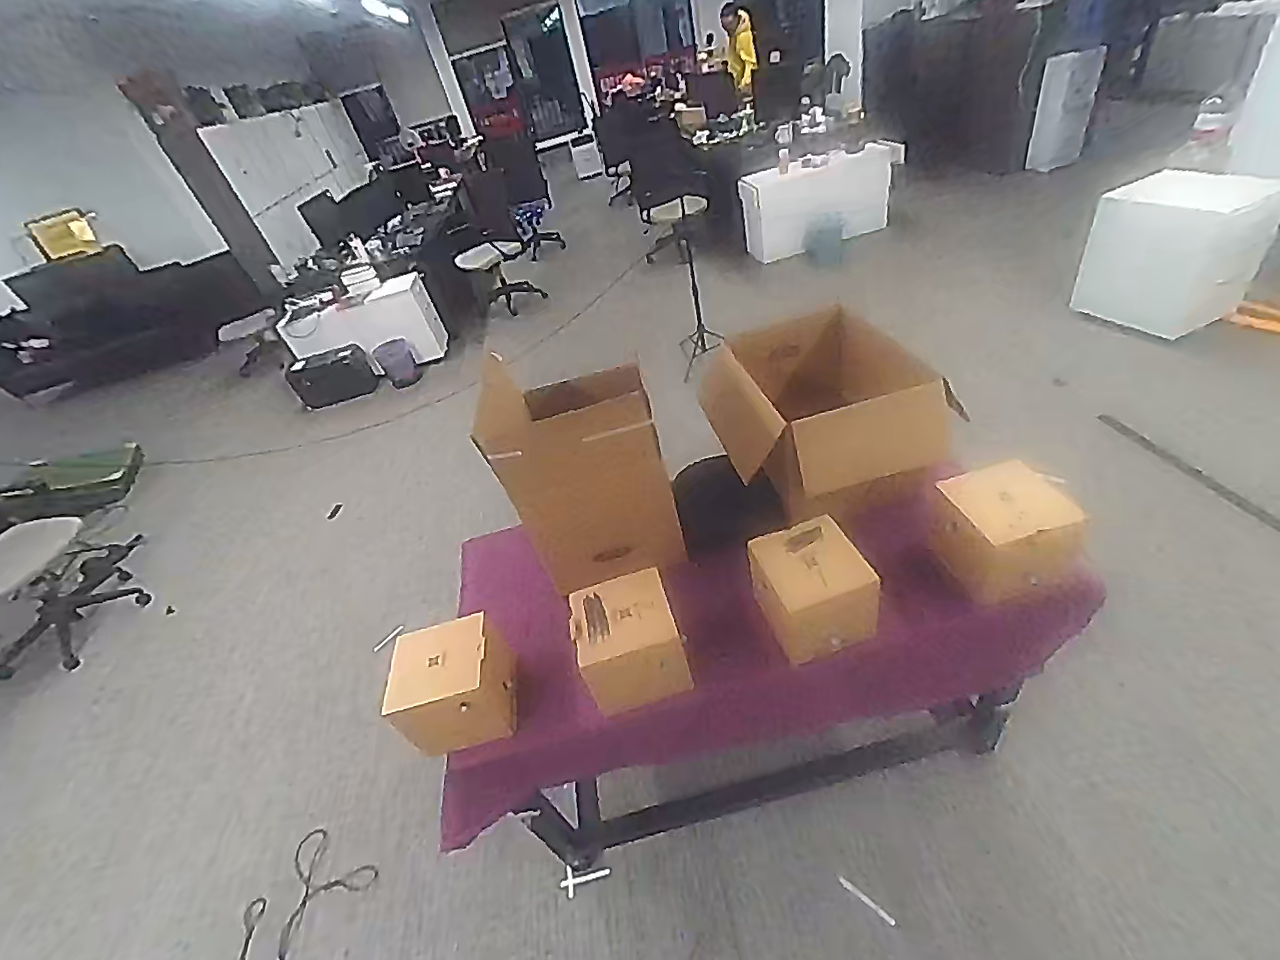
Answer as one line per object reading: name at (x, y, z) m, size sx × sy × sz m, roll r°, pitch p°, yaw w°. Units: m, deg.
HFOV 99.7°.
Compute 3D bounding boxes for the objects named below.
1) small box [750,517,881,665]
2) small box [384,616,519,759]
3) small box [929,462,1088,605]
small box at (0.317, 0.204, 0.999) m, size 0.168 × 0.176 × 0.179 m, roll -19°, pitch 39°, yaw -2°
small box at (-0.341, 0.391, 1.012) m, size 0.179 × 0.176 × 0.168 m, roll -16°, pitch 38°, yaw -1°
small box at (0.661, 0.099, 0.998) m, size 0.168 × 0.176 × 0.179 m, roll -17°, pitch 38°, yaw 2°
